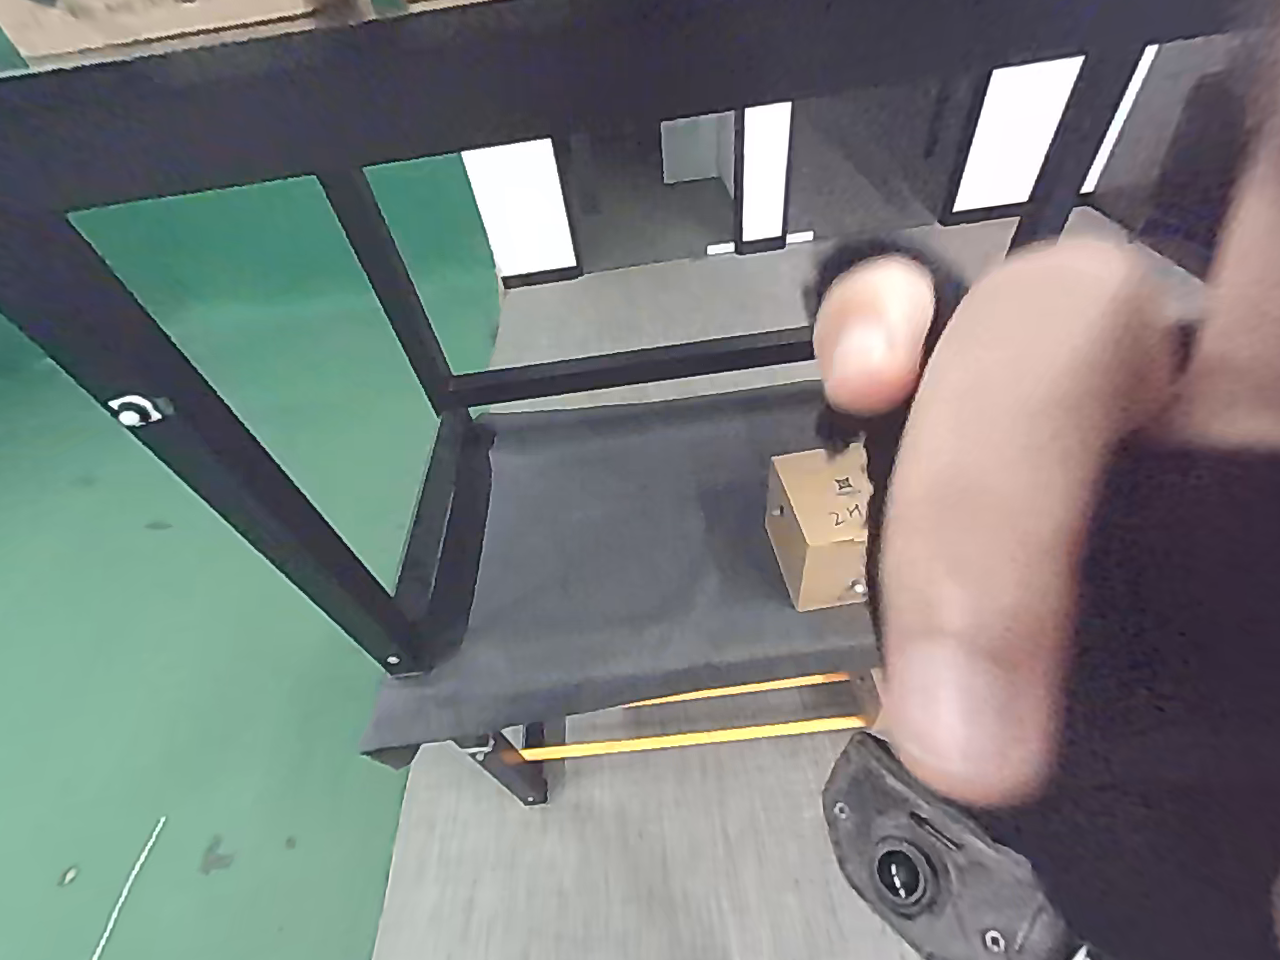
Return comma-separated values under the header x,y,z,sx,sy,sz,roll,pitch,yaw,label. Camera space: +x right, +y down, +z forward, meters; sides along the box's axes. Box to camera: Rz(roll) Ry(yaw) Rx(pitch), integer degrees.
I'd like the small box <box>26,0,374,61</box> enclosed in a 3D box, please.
x,y,z,sx,sy,sz,roll,pitch,yaw,label
-0.286,-0.372,0.324,0.168,0.176,0.179,-10,45,-2,small box

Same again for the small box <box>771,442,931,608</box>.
x,y,z,sx,sy,sz,roll,pitch,yaw,label
0.303,0.069,0.825,0.168,0.176,0.179,-9,45,1,small box
